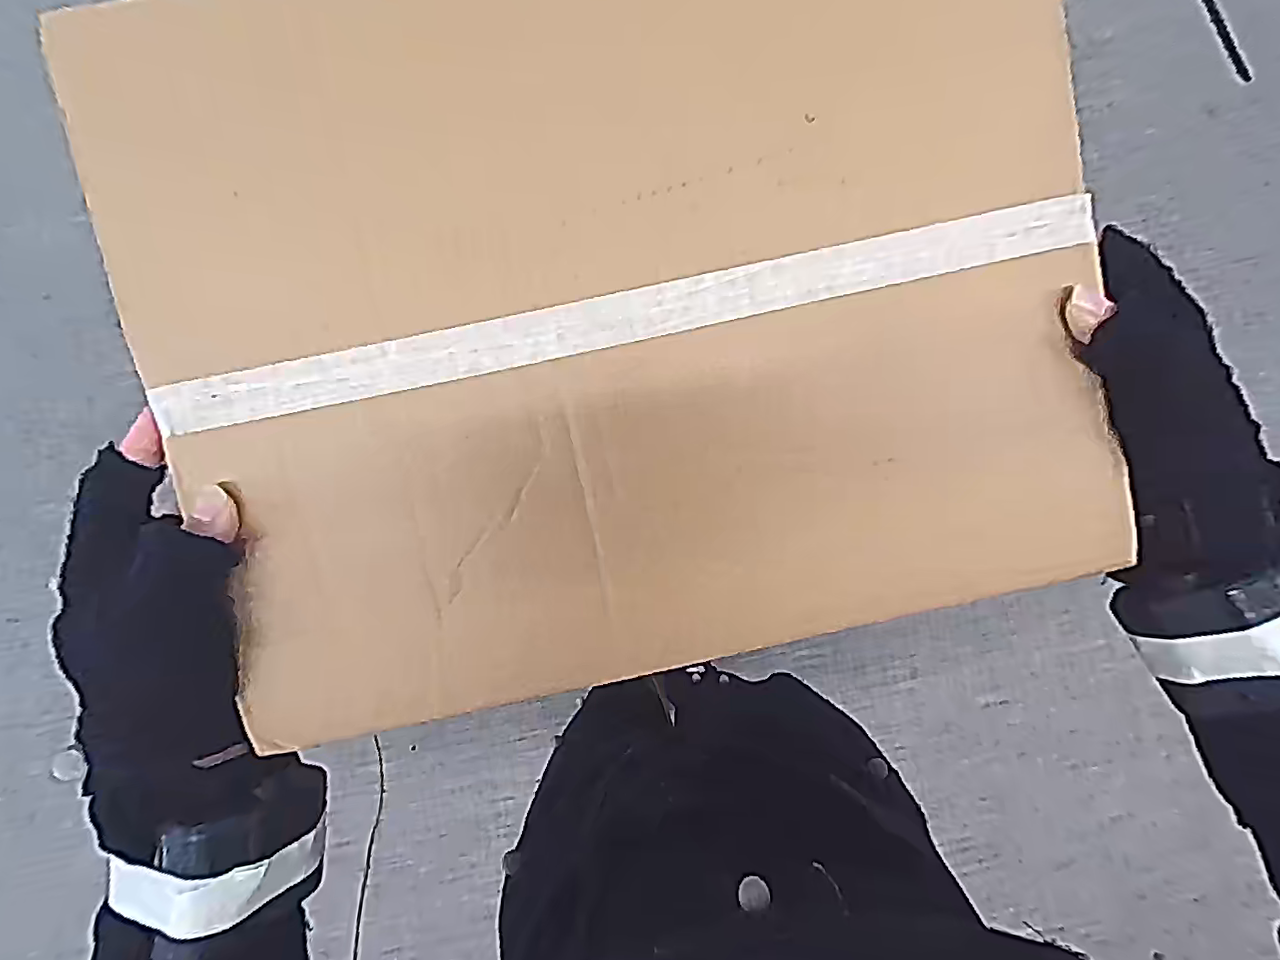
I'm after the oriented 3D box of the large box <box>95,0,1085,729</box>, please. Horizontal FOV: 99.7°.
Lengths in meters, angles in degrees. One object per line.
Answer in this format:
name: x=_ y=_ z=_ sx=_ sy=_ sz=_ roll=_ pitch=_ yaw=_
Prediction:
large box: x=-0.010 y=-0.086 z=0.392 sx=0.408 sy=0.320 sz=0.320 roll=-12 pitch=95 yaw=-1
